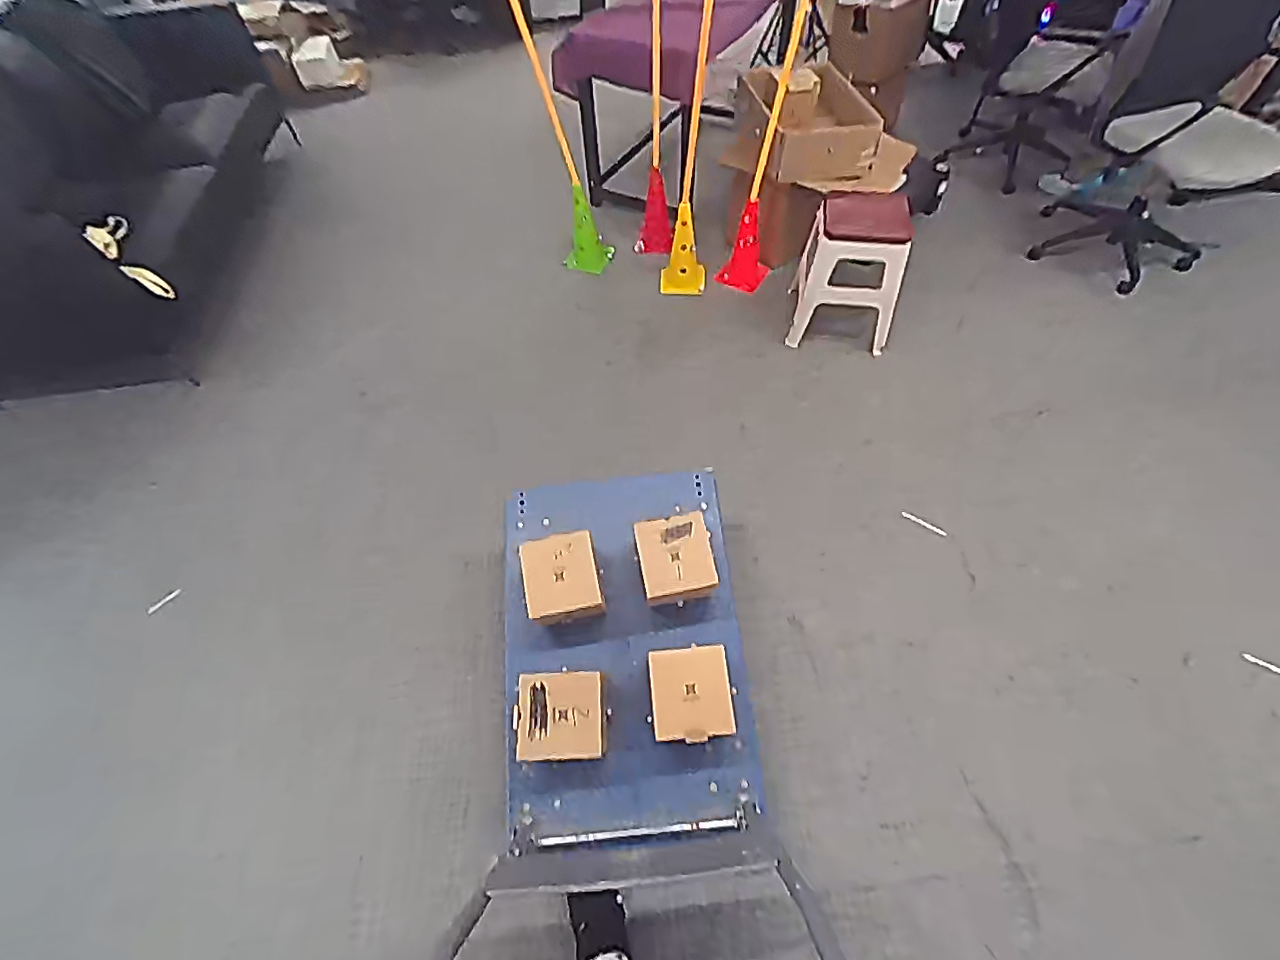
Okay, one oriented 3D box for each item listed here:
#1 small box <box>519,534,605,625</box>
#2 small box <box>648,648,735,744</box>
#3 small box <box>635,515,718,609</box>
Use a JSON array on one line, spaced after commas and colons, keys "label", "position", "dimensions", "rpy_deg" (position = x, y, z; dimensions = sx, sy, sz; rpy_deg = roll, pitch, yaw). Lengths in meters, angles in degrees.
[{"label": "small box", "position": [-0.181, 0.245, 1.291], "dimensions": [0.168, 0.176, 0.179], "rpy_deg": [-11, 69, -4]}, {"label": "small box", "position": [0.106, 0.476, 1.199], "dimensions": [0.168, 0.176, 0.179], "rpy_deg": [-6, 70, -1]}, {"label": "small box", "position": [0.081, 0.202, 1.303], "dimensions": [0.168, 0.176, 0.179], "rpy_deg": [-10, 70, -2]}]
